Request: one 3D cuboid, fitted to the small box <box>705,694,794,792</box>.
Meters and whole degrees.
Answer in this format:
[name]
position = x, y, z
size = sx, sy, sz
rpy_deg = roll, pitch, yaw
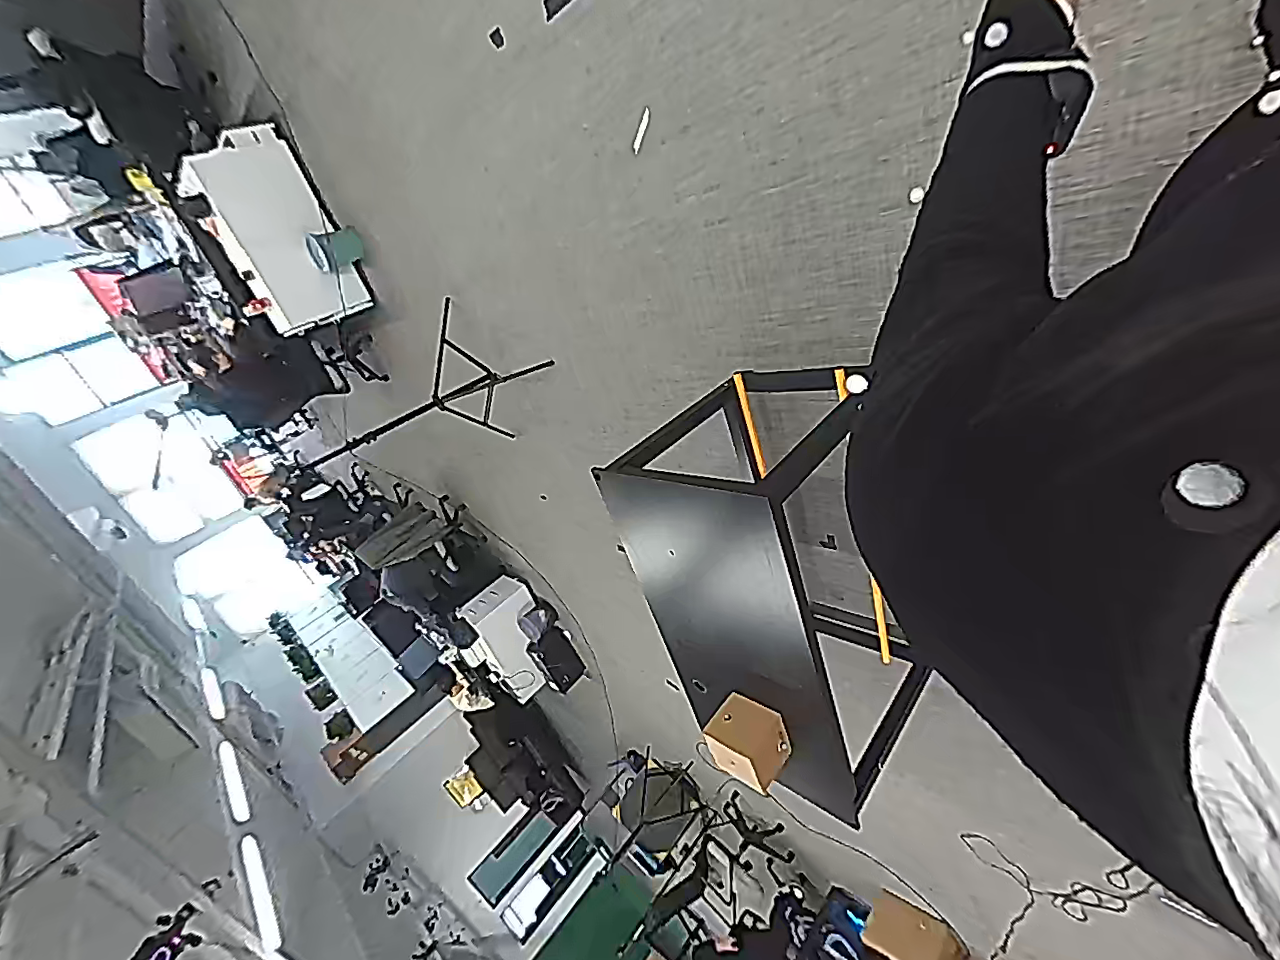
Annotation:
[small box]
position = 0.329, 0.771, 1.611
size = 0.179, 0.176, 0.168
rpy_deg = 7, 128, 48
